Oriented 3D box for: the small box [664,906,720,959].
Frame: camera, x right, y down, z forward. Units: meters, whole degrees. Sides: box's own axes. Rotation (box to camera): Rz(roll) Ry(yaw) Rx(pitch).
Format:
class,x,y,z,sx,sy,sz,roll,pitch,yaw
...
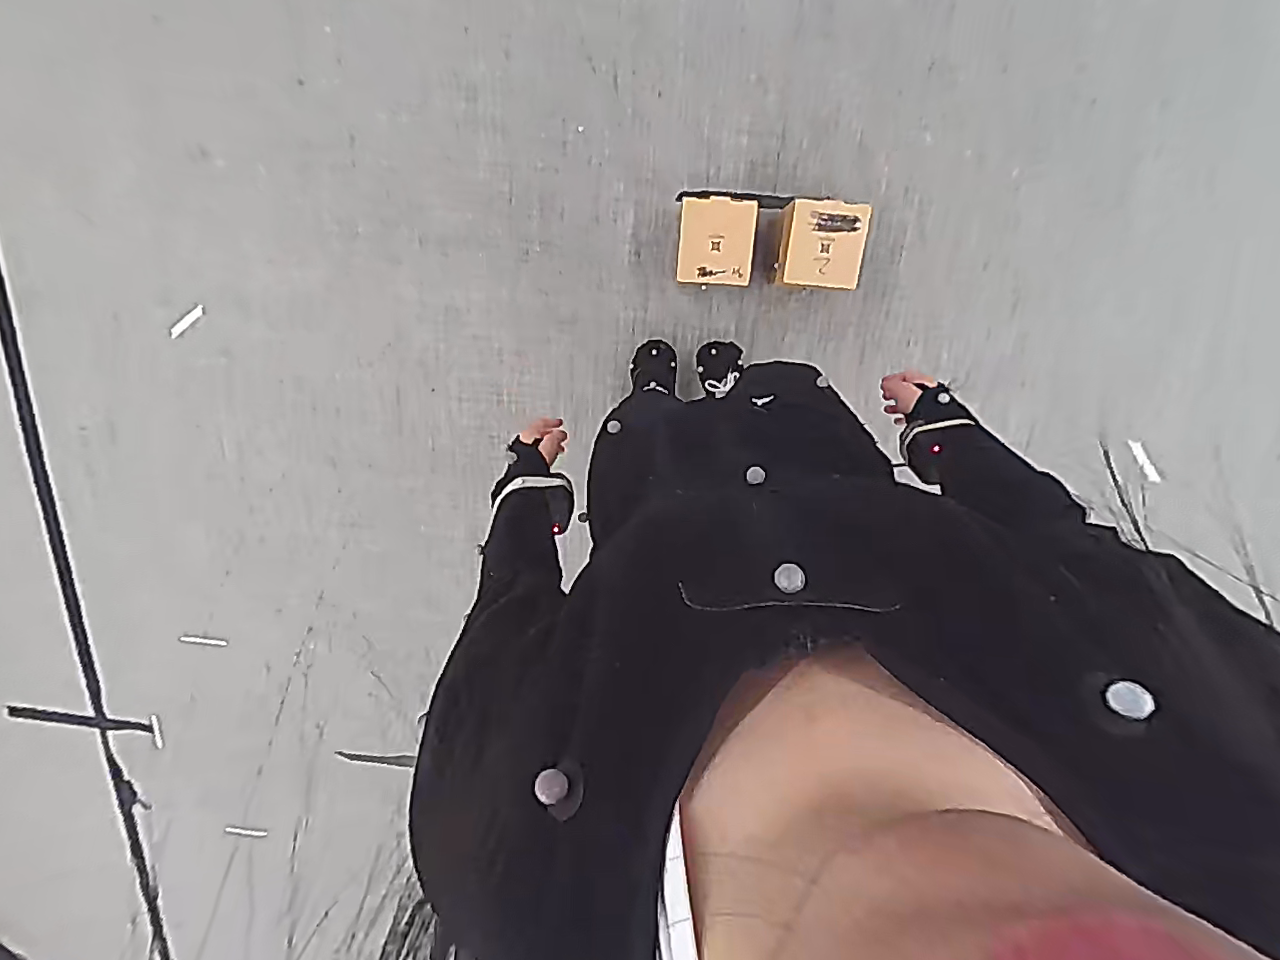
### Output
class,x,y,z,sx,sy,sz,roll,pitch,yaw
small box,0.186,1.692,1.958,0.179,0.176,0.168,8,107,1
